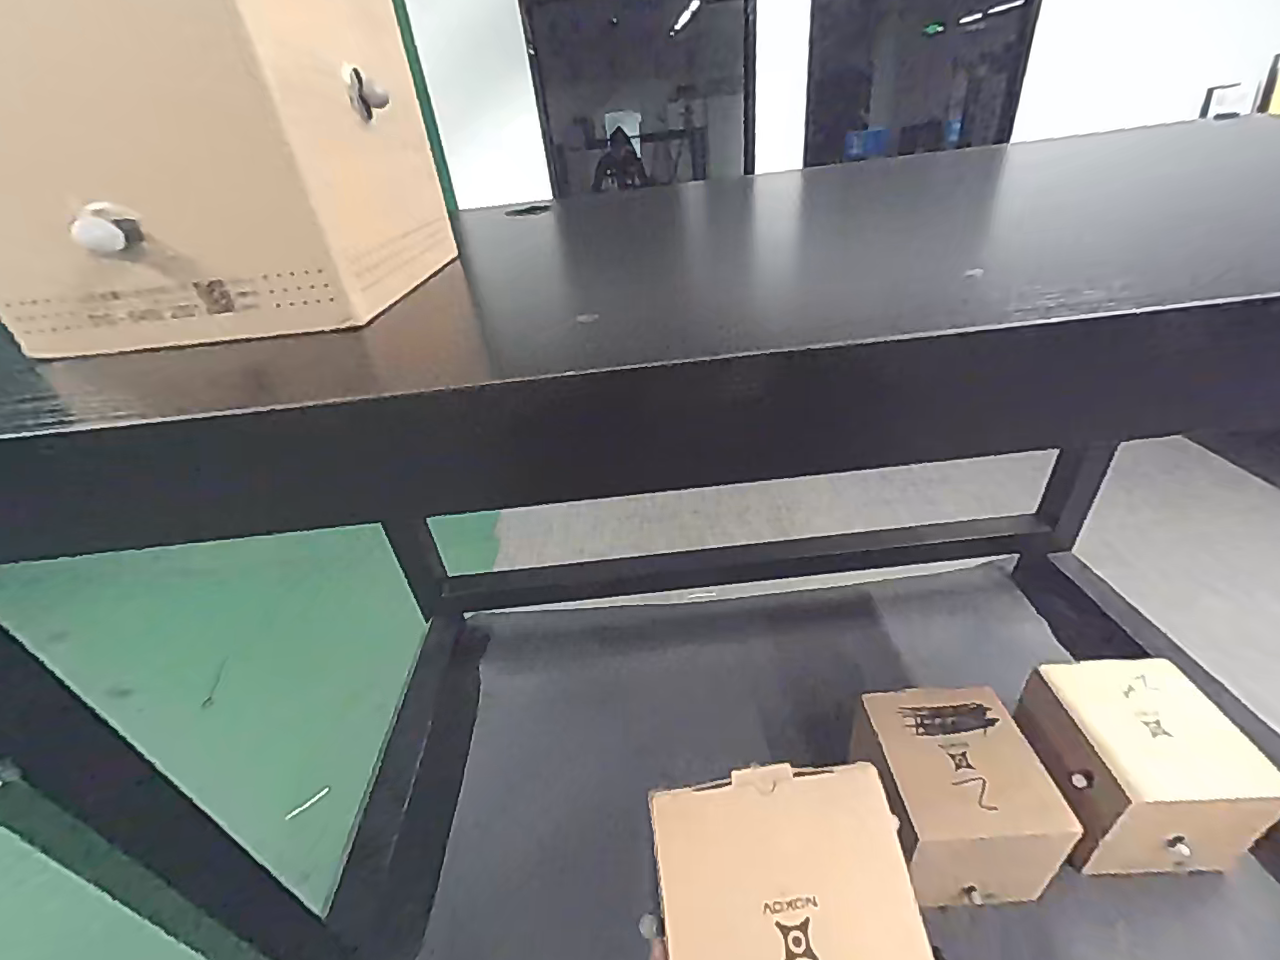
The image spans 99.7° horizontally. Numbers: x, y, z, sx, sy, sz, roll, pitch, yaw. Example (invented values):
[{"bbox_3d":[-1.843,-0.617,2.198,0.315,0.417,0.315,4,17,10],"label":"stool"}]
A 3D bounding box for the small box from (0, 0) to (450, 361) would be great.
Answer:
[{"bbox_3d":[-0.218,-0.176,0.289,0.168,0.176,0.179,-5,34,2],"label":"small box"}]

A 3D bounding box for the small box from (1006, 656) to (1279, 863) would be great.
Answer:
[{"bbox_3d":[0.599,0.347,0.672,0.168,0.176,0.179,-4,32,4],"label":"small box"}]
